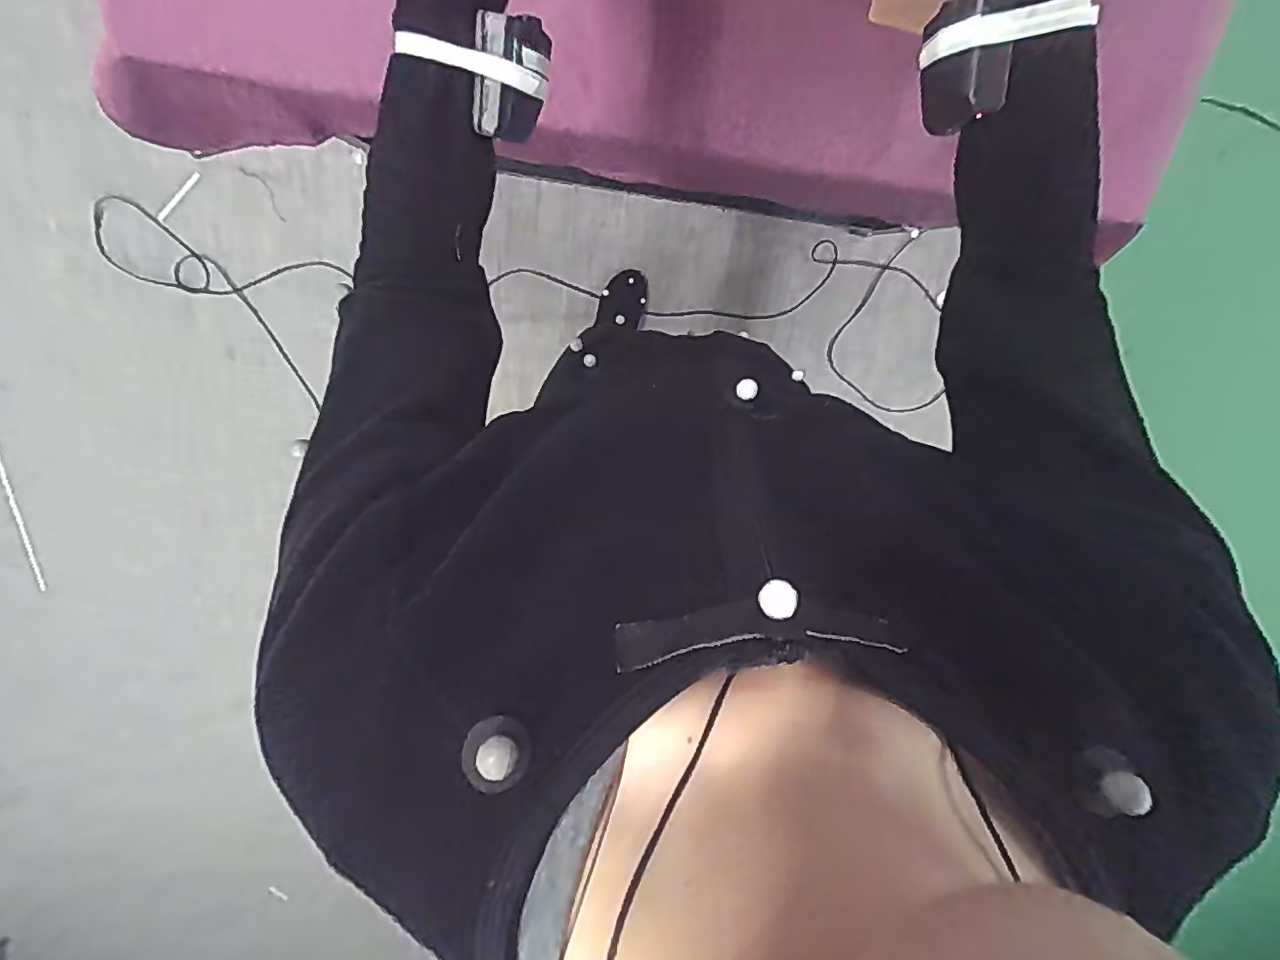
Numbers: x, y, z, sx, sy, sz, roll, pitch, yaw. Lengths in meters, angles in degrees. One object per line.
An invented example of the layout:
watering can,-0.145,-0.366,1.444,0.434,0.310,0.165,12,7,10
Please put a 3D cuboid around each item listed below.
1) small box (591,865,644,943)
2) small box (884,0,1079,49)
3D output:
small box,-0.089,1.644,2.099,0.168,0.176,0.179,12,109,-11
small box,0.356,-0.549,0.508,0.168,0.176,0.179,7,110,-8
